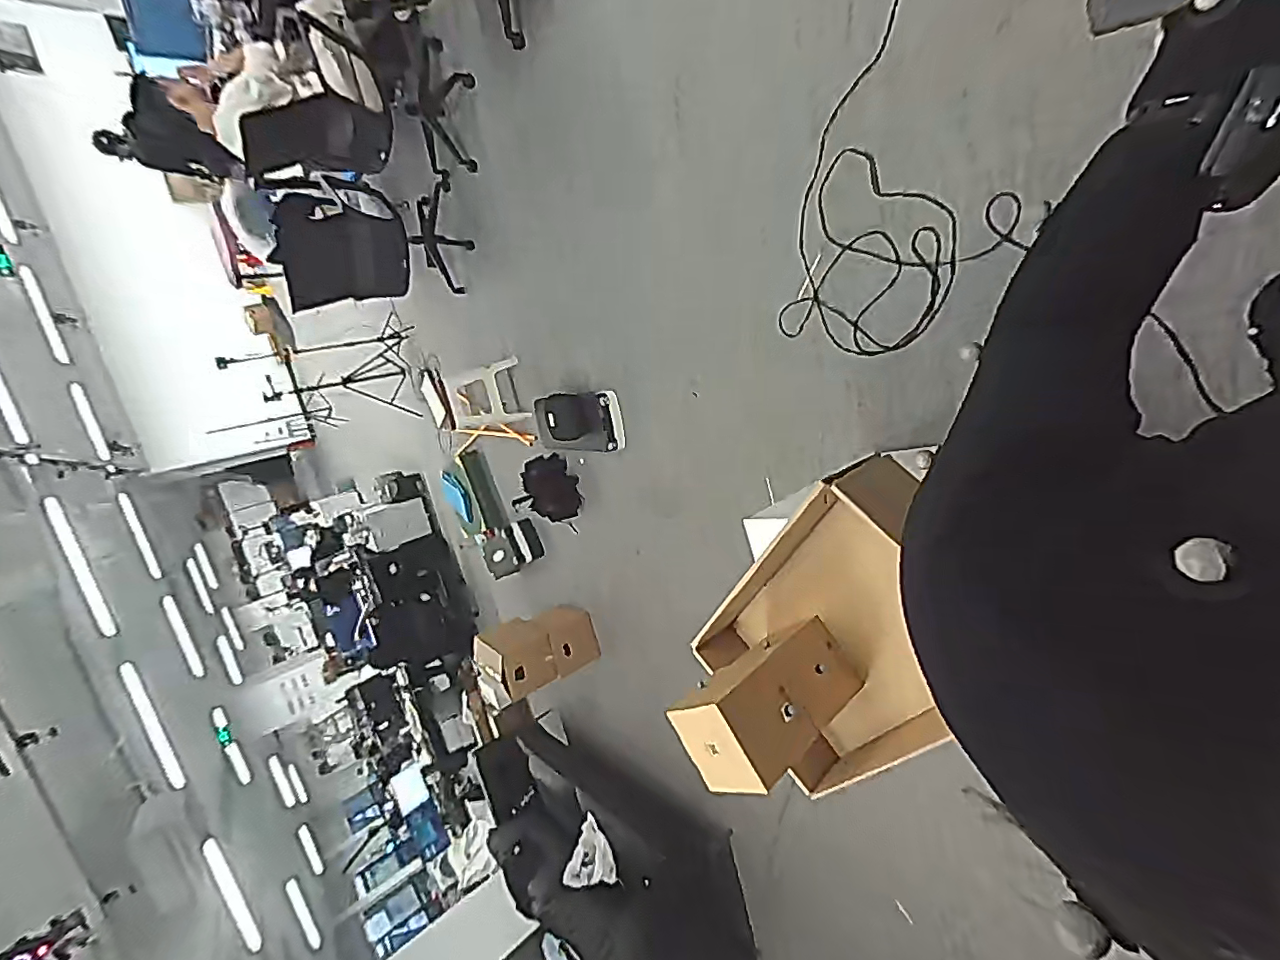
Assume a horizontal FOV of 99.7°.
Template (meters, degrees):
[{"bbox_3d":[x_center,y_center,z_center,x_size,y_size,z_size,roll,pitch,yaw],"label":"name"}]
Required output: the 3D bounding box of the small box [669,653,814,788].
[{"bbox_3d":[0.193,0.454,1.029,0.168,0.176,0.179,58,142,10],"label":"small box"}]
